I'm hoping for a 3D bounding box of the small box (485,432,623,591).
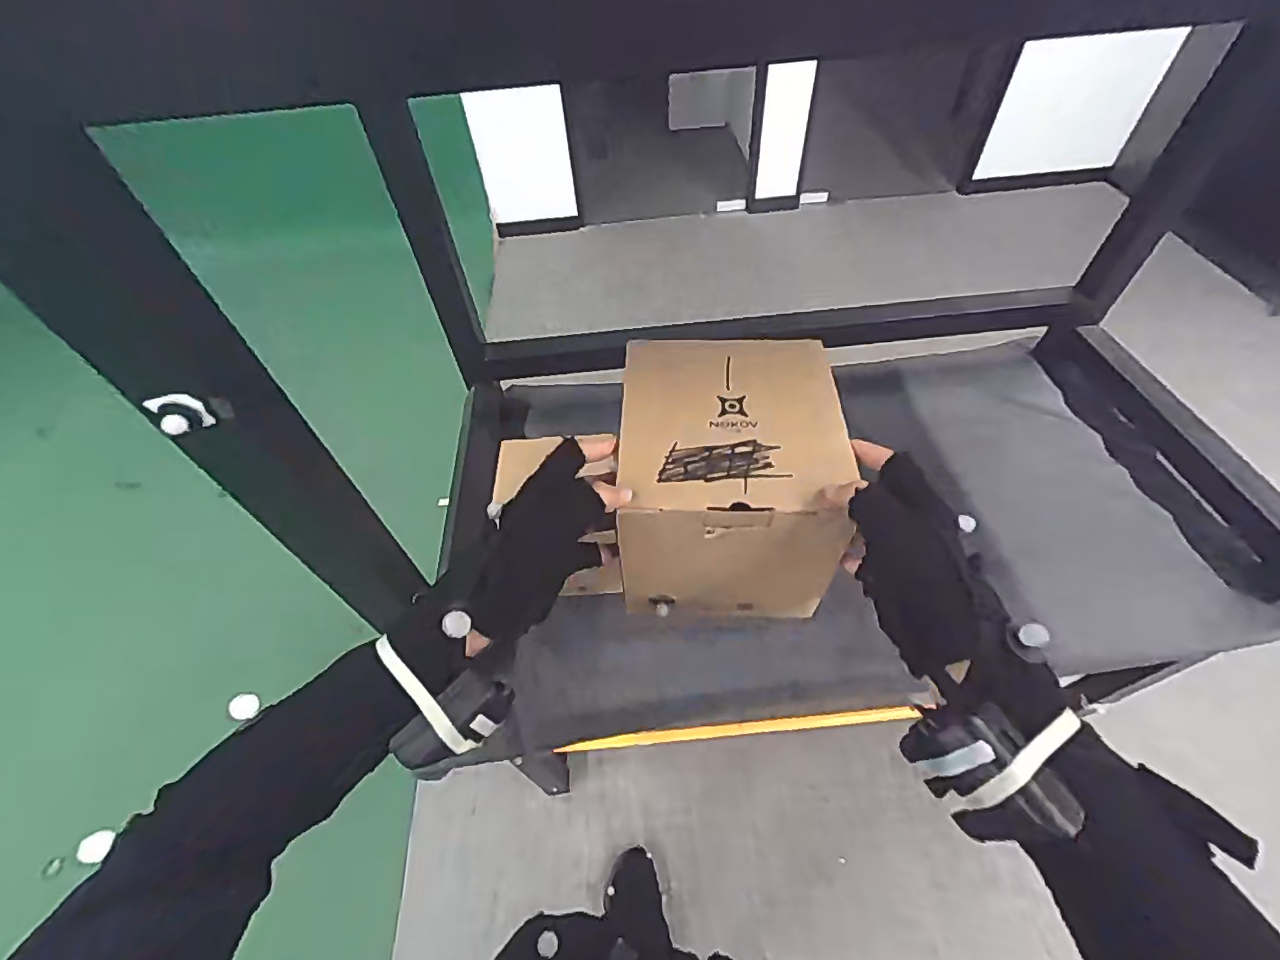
[{"bbox_3d":[-0.113,0.053,0.790,0.168,0.176,0.179,-3,51,0],"label":"small box"}]
